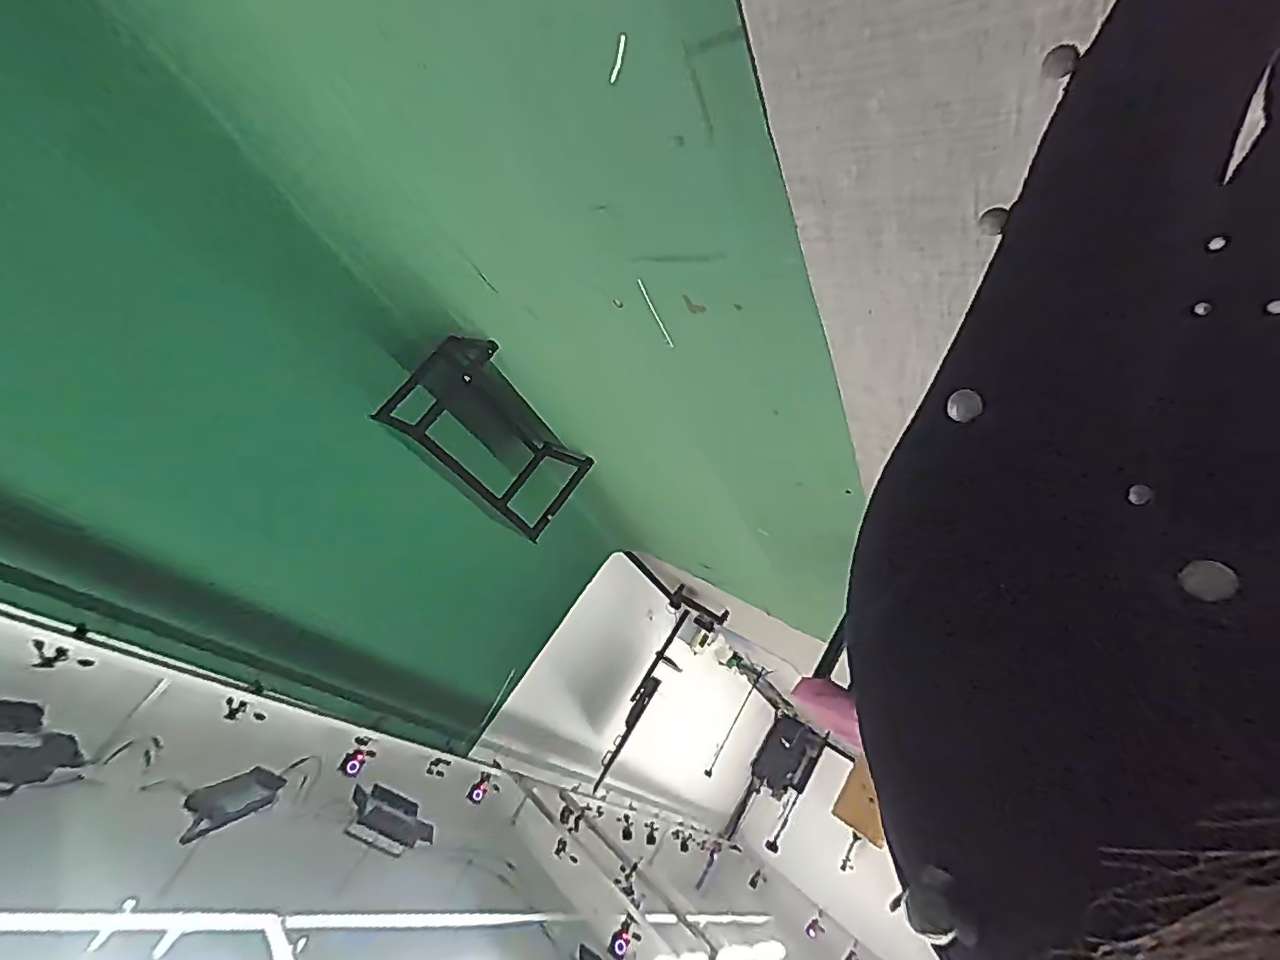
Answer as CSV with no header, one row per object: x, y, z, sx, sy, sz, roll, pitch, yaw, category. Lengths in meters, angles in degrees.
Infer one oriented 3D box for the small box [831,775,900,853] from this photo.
0.812,1.191,1.932,0.168,0.176,0.179,20,157,41,small box
